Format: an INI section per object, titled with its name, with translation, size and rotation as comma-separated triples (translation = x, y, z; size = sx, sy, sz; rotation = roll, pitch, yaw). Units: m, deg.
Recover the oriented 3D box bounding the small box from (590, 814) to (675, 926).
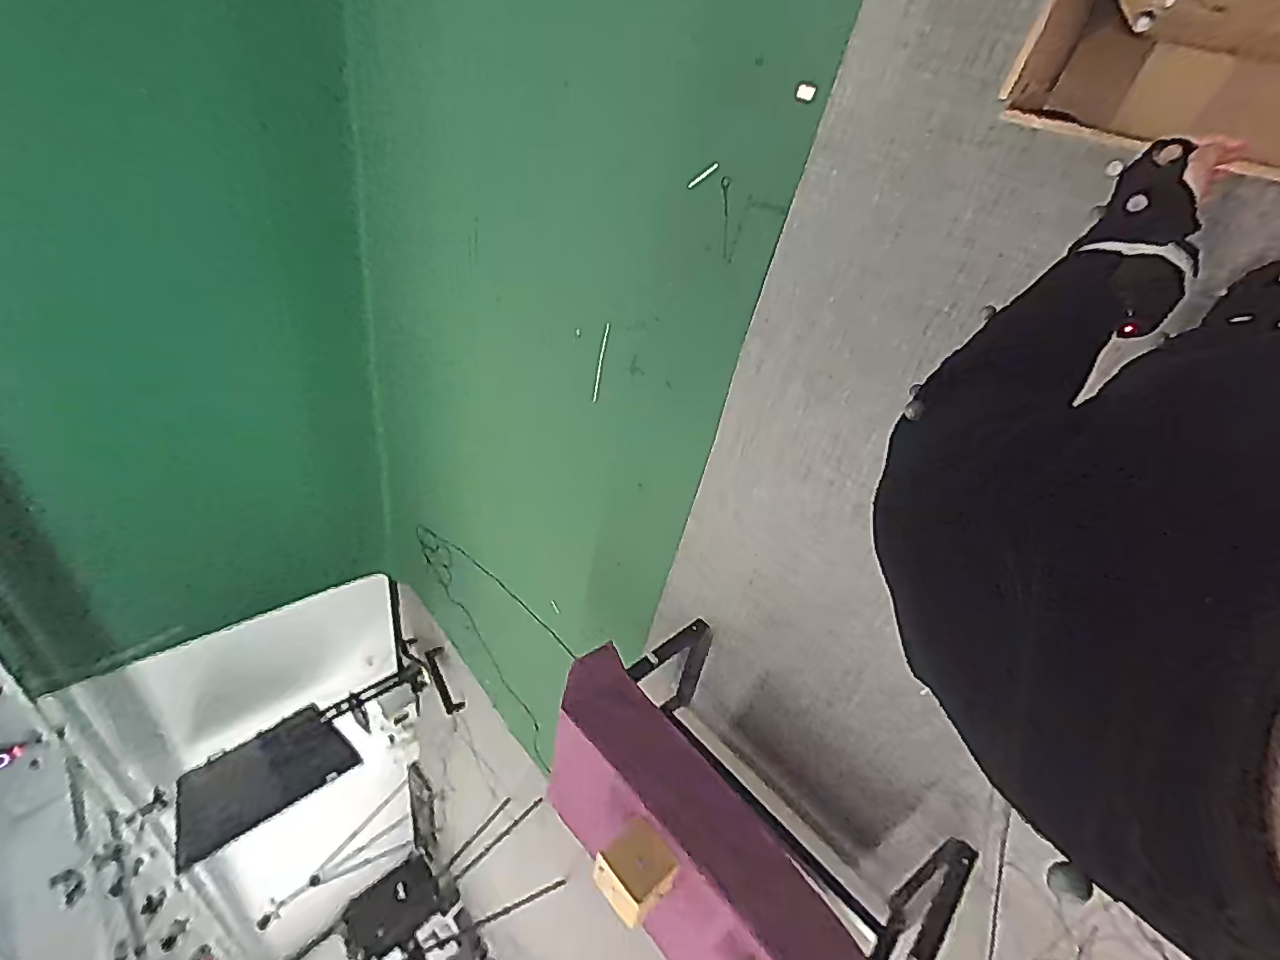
[small box]
translation = -0.021, 1.136, 1.587
size = 0.179, 0.176, 0.168
rotation = 35, 129, 33
